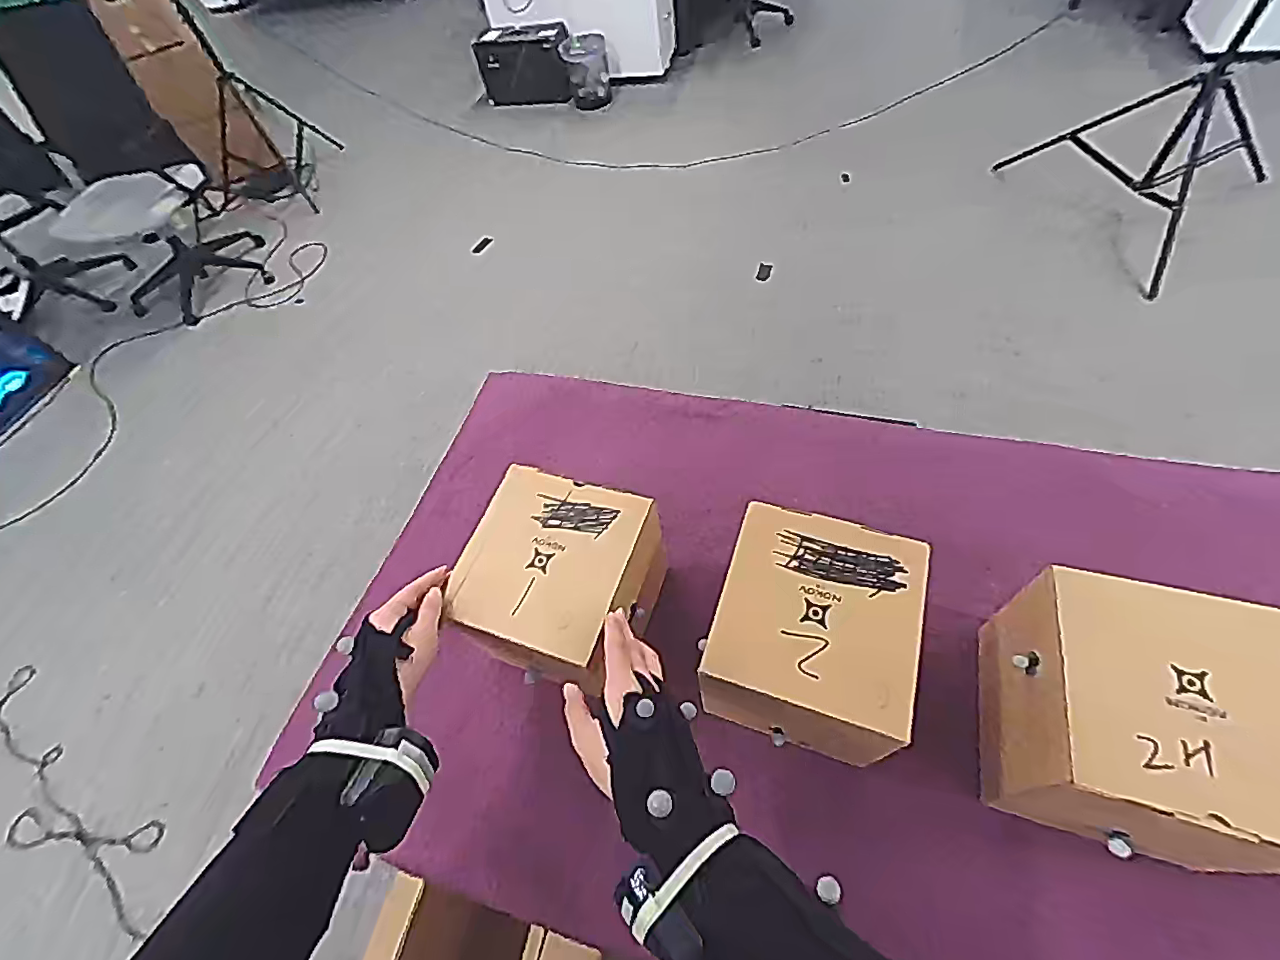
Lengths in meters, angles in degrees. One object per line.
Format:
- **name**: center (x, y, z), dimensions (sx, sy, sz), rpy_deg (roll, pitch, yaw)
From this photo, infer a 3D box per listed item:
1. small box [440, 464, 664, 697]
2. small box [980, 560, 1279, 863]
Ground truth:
- **small box**: center (-0.077, 0.113, 0.593), dimensions (0.168, 0.176, 0.179), rpy_deg (14, 61, 17)
- **small box**: center (0.411, 0.198, 0.462), dimensions (0.168, 0.176, 0.179), rpy_deg (11, 58, 16)
